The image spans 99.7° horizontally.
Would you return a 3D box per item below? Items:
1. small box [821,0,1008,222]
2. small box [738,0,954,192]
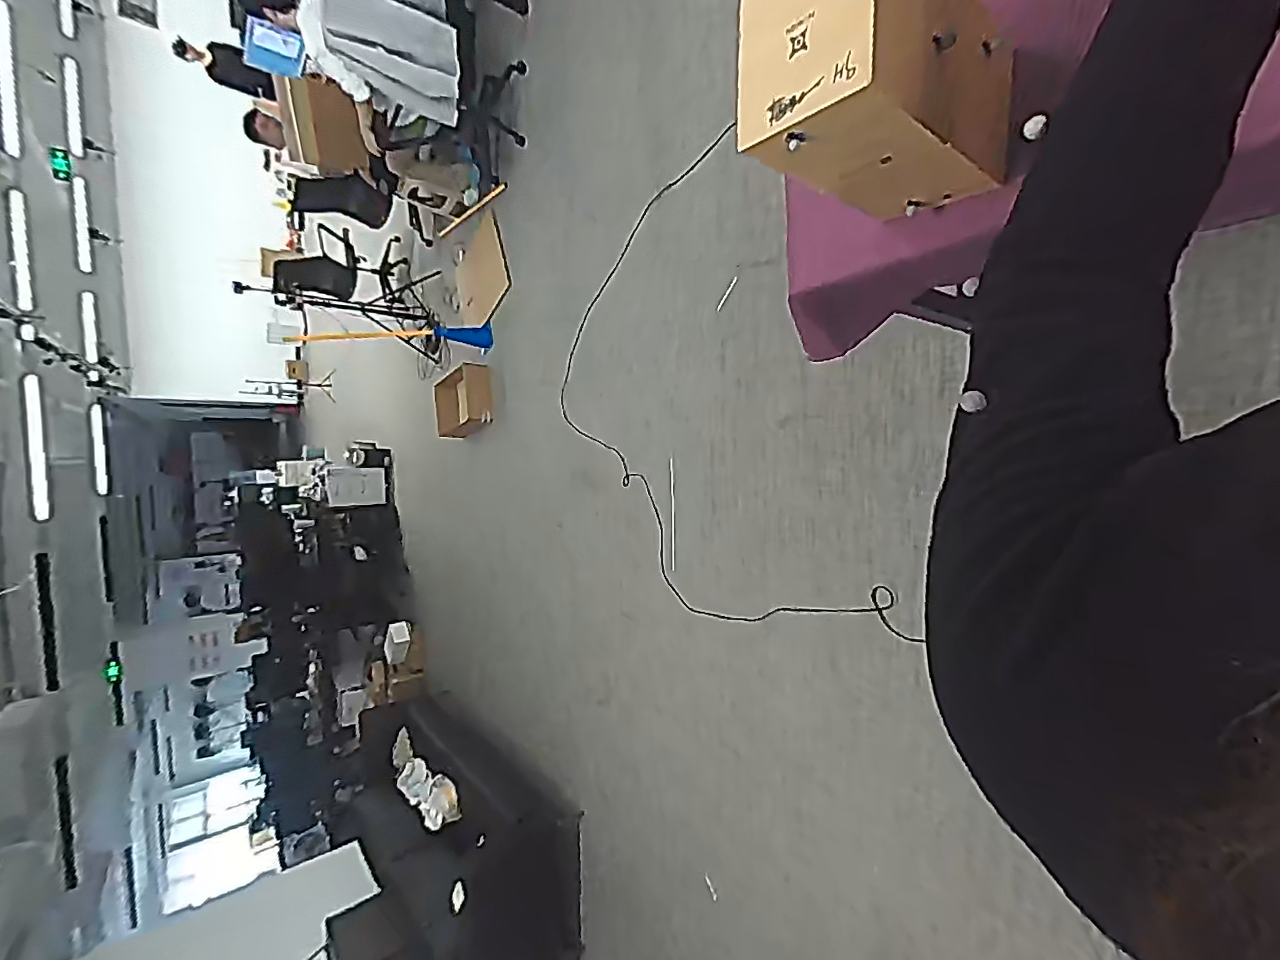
[{"bbox_3d":[0.362,-0.471,0.715,0.168,0.176,0.179,8,99,51],"label":"small box"},{"bbox_3d":[0.233,-0.464,0.613,0.168,0.176,0.179,8,97,53],"label":"small box"}]
